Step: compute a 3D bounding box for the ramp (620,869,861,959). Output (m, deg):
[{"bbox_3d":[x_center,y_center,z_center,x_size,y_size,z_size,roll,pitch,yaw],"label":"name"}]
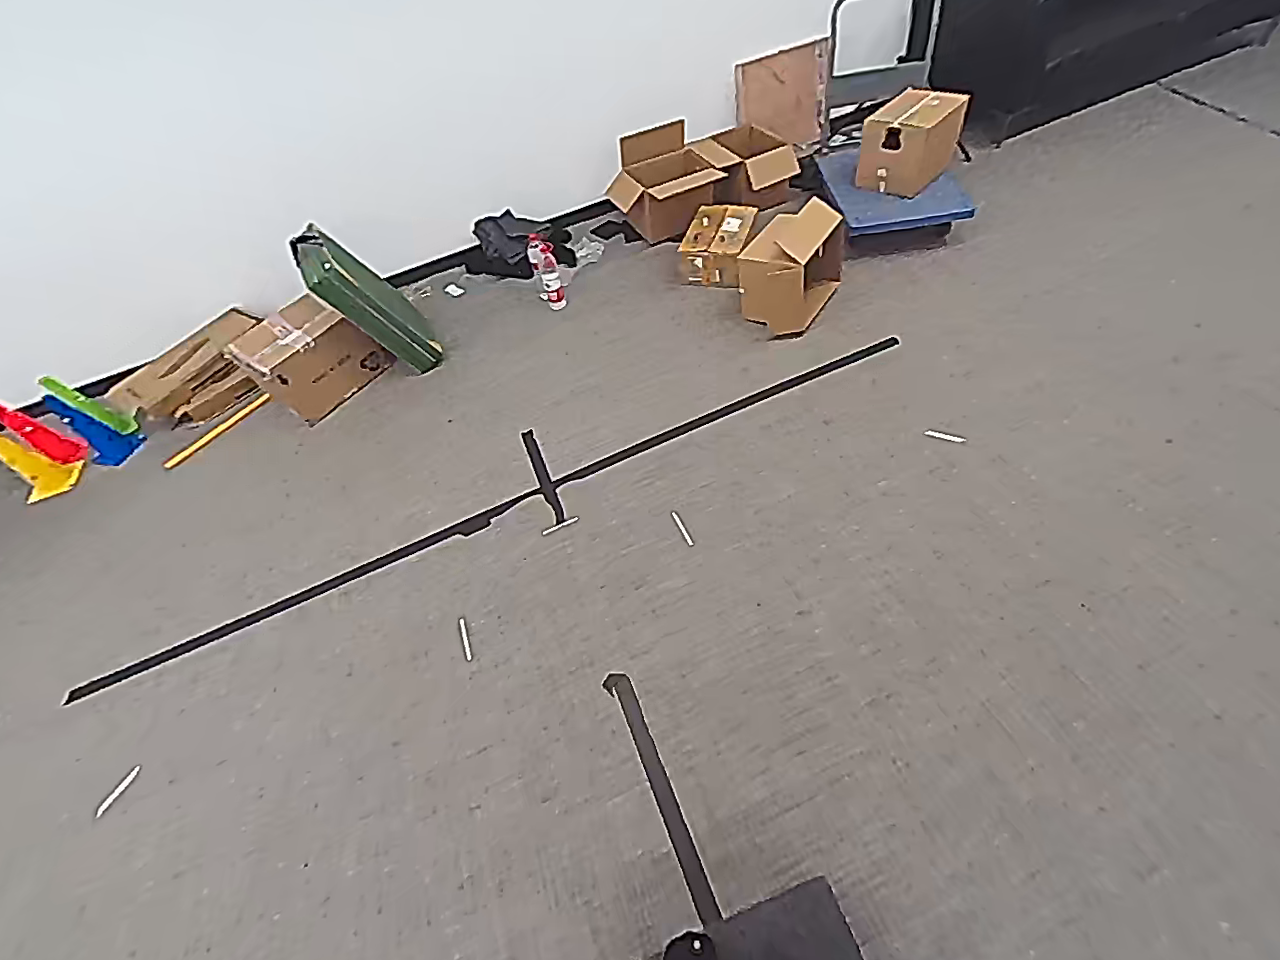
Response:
[{"bbox_3d":[0.324,1.283,0.862,0.509,0.206,0.991,-22,52,-8],"label":"ramp"}]
